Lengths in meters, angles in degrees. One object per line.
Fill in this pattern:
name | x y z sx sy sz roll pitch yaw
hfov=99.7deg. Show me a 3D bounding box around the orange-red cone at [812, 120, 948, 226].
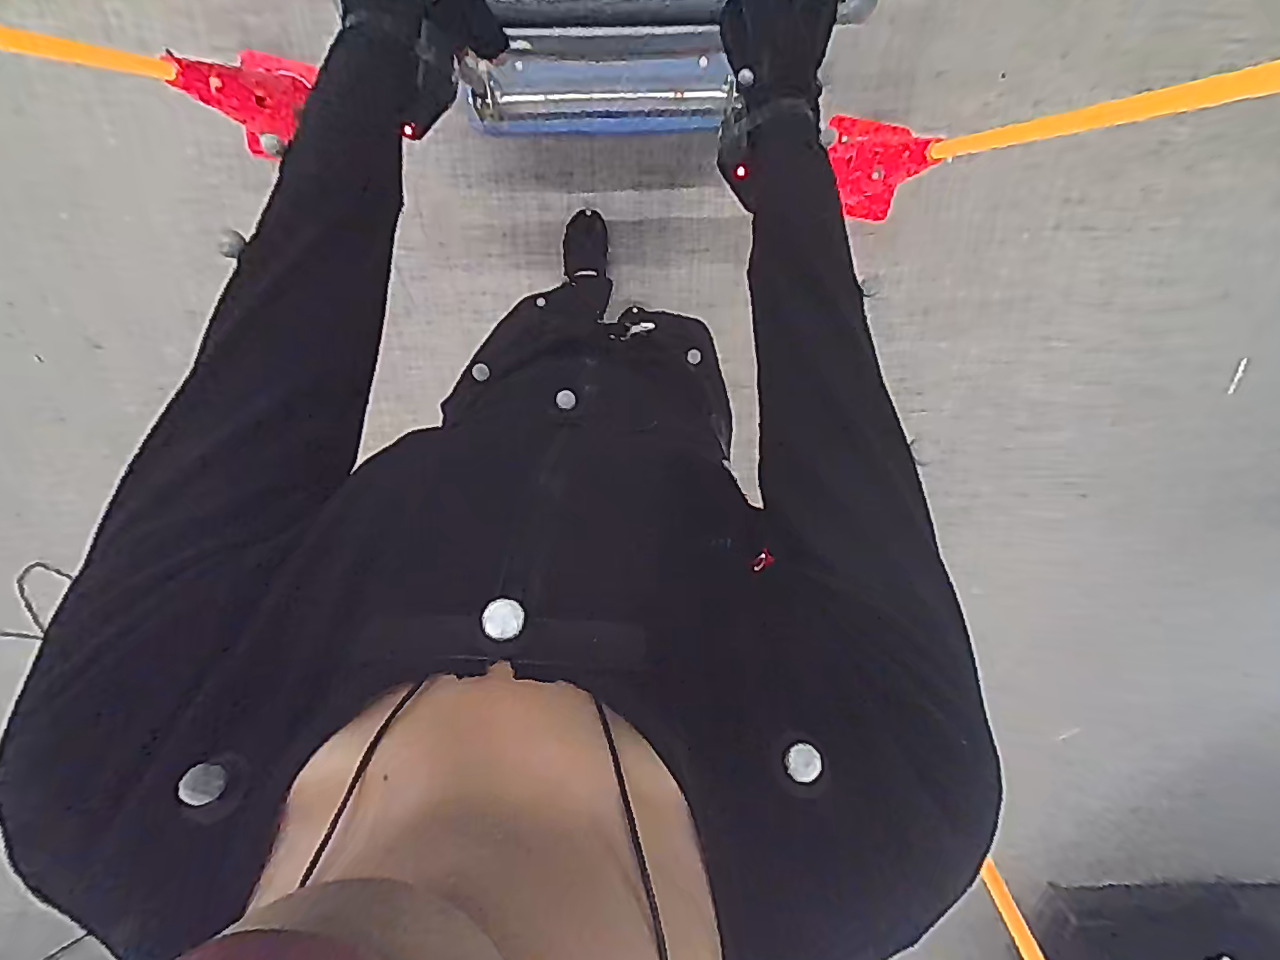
orange-red cone | 0.523 -0.645 1.112 0.198 0.360 0.199 9 114 -5
